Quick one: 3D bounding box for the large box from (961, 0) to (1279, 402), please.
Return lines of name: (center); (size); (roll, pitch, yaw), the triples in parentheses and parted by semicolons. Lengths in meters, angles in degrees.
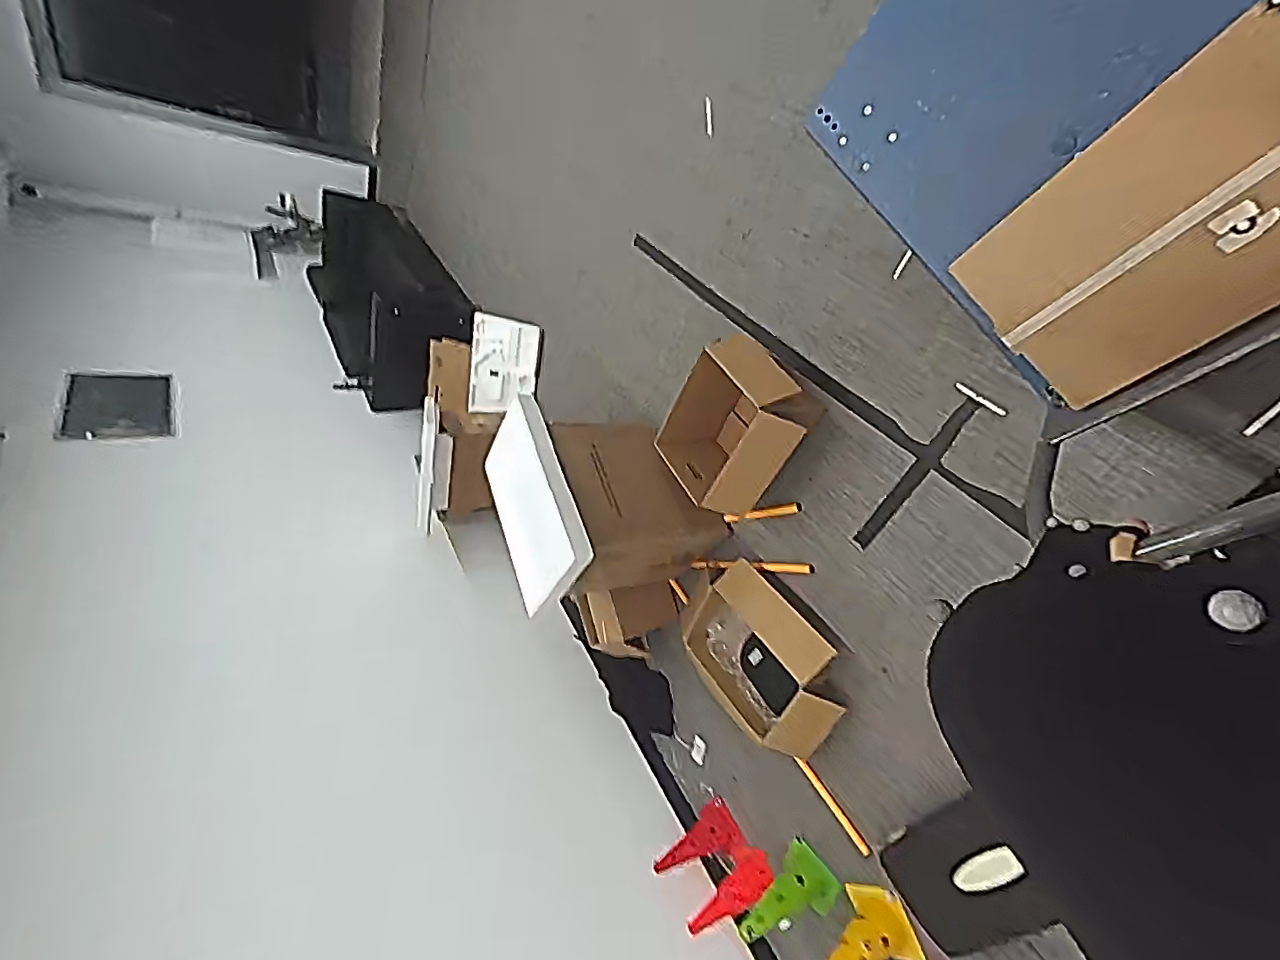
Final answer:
large box: (0.806, -0.391, 0.830); (0.320, 0.320, 0.408); (52, 137, 8)
